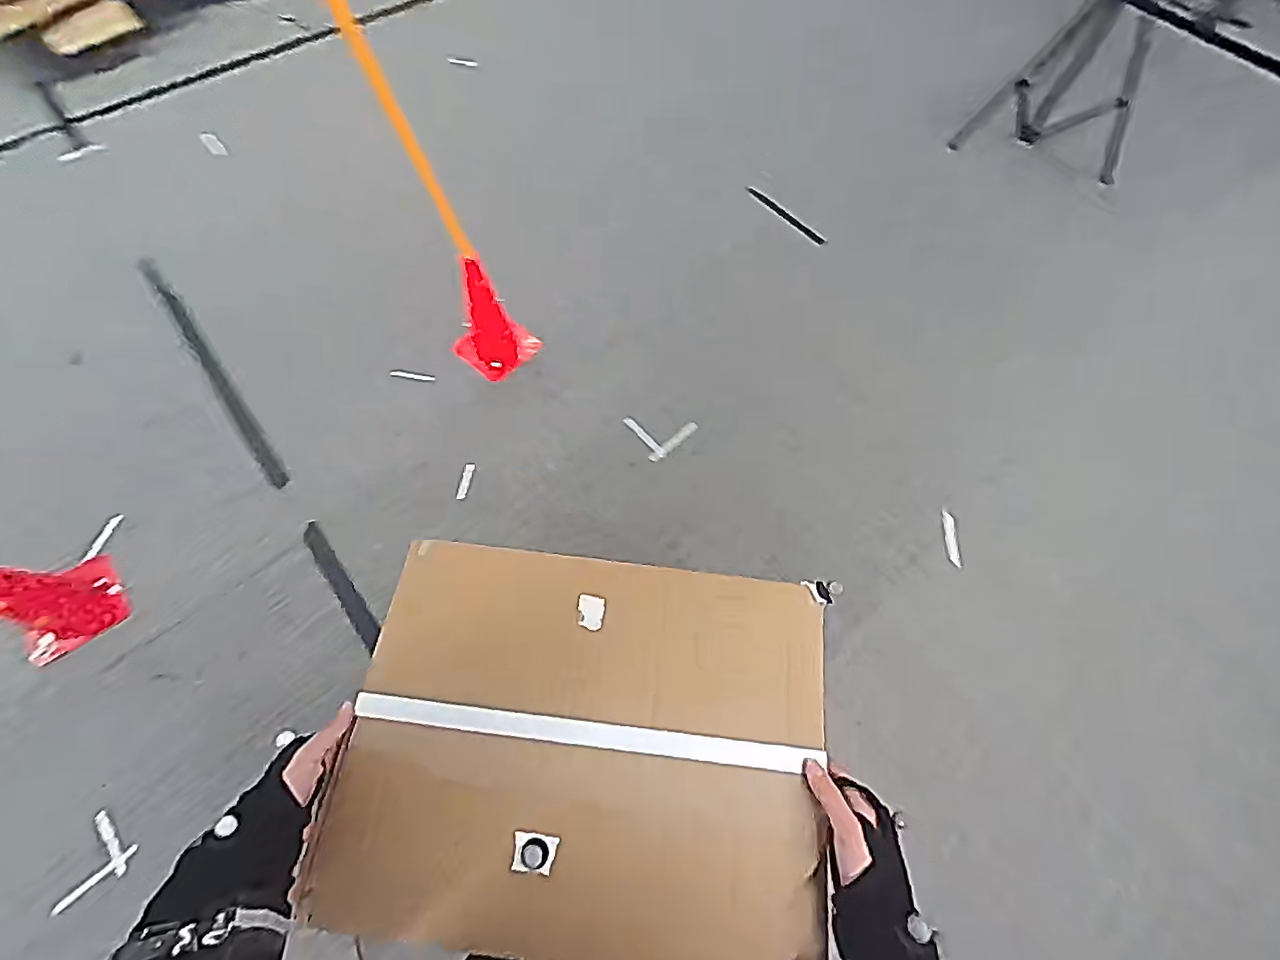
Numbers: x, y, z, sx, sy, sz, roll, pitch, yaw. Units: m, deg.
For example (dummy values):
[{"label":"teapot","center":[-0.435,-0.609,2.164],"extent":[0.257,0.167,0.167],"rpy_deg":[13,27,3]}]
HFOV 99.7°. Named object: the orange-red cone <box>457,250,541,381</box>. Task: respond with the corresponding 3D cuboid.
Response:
[{"label":"orange-red cone","center":[-0.420,-0.479,1.488],"extent":[0.198,0.360,0.199],"rpy_deg":[40,69,14]}]
